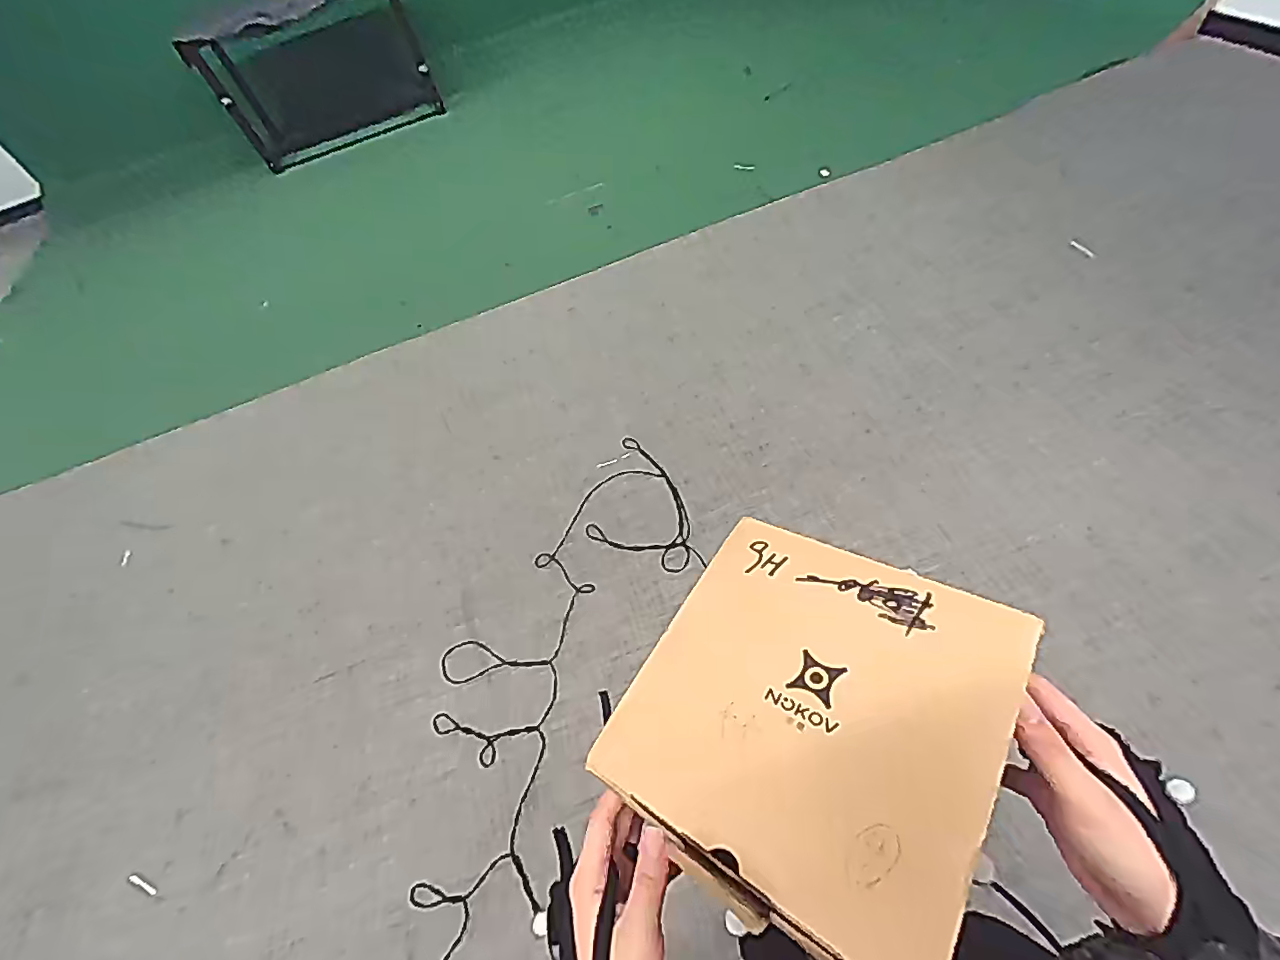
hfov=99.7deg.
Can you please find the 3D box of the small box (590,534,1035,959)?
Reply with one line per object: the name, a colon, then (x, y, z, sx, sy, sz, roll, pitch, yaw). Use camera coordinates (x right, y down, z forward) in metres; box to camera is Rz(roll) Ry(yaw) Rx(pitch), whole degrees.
small box: (0.105, 0.169, 0.327, 0.168, 0.176, 0.179, 19, 58, 34)
